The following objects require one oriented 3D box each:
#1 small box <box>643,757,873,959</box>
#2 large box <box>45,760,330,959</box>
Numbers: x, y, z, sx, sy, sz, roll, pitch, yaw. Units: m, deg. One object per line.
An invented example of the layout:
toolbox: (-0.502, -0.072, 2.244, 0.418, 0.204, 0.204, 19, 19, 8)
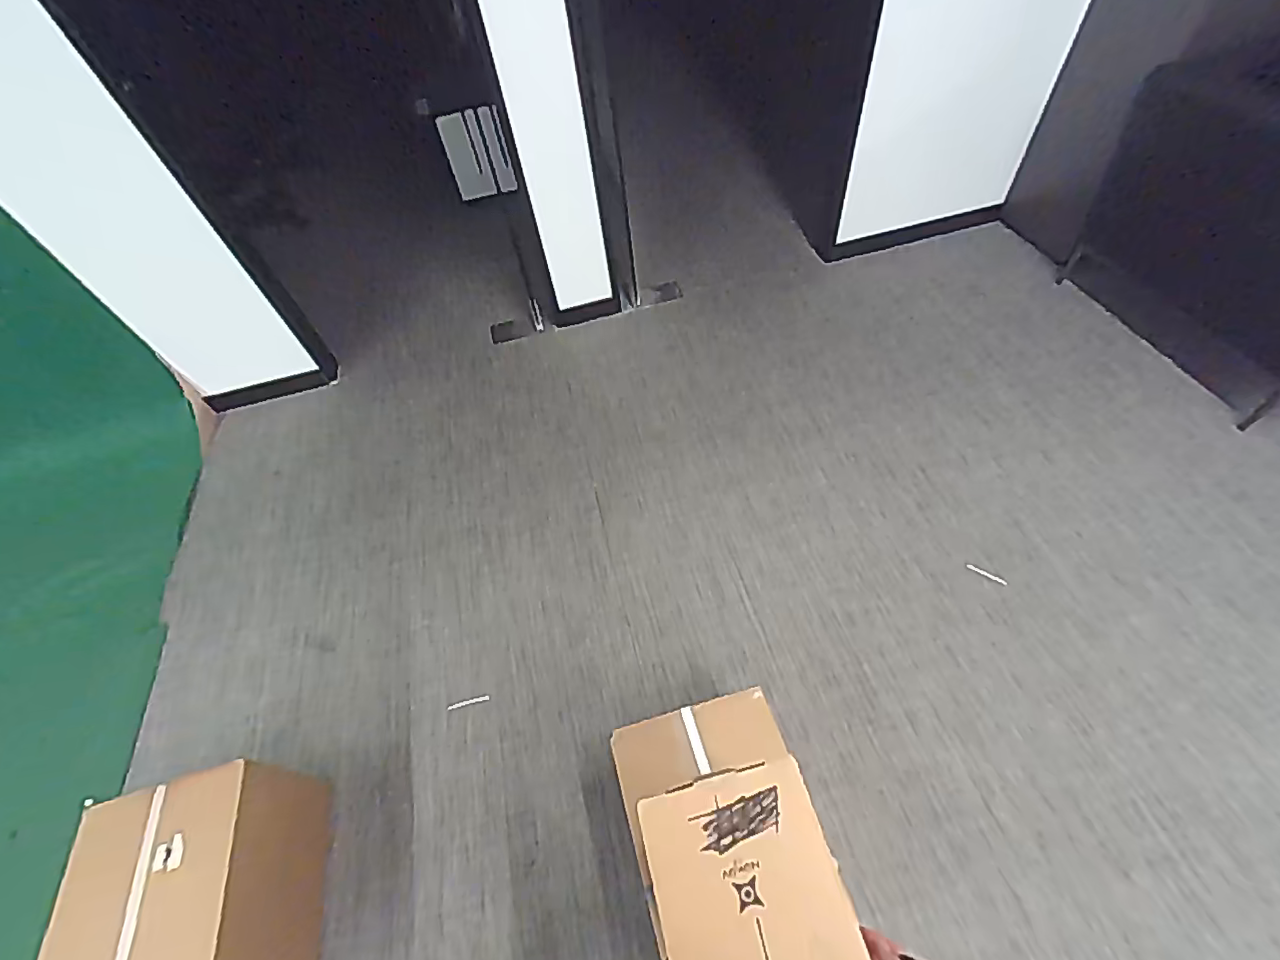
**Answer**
small box: (0.106, 0.408, 0.549, 0.168, 0.176, 0.179, -15, 55, -3)
large box: (-0.856, 0.836, 1.065, 0.320, 0.320, 0.408, -16, 53, -4)
